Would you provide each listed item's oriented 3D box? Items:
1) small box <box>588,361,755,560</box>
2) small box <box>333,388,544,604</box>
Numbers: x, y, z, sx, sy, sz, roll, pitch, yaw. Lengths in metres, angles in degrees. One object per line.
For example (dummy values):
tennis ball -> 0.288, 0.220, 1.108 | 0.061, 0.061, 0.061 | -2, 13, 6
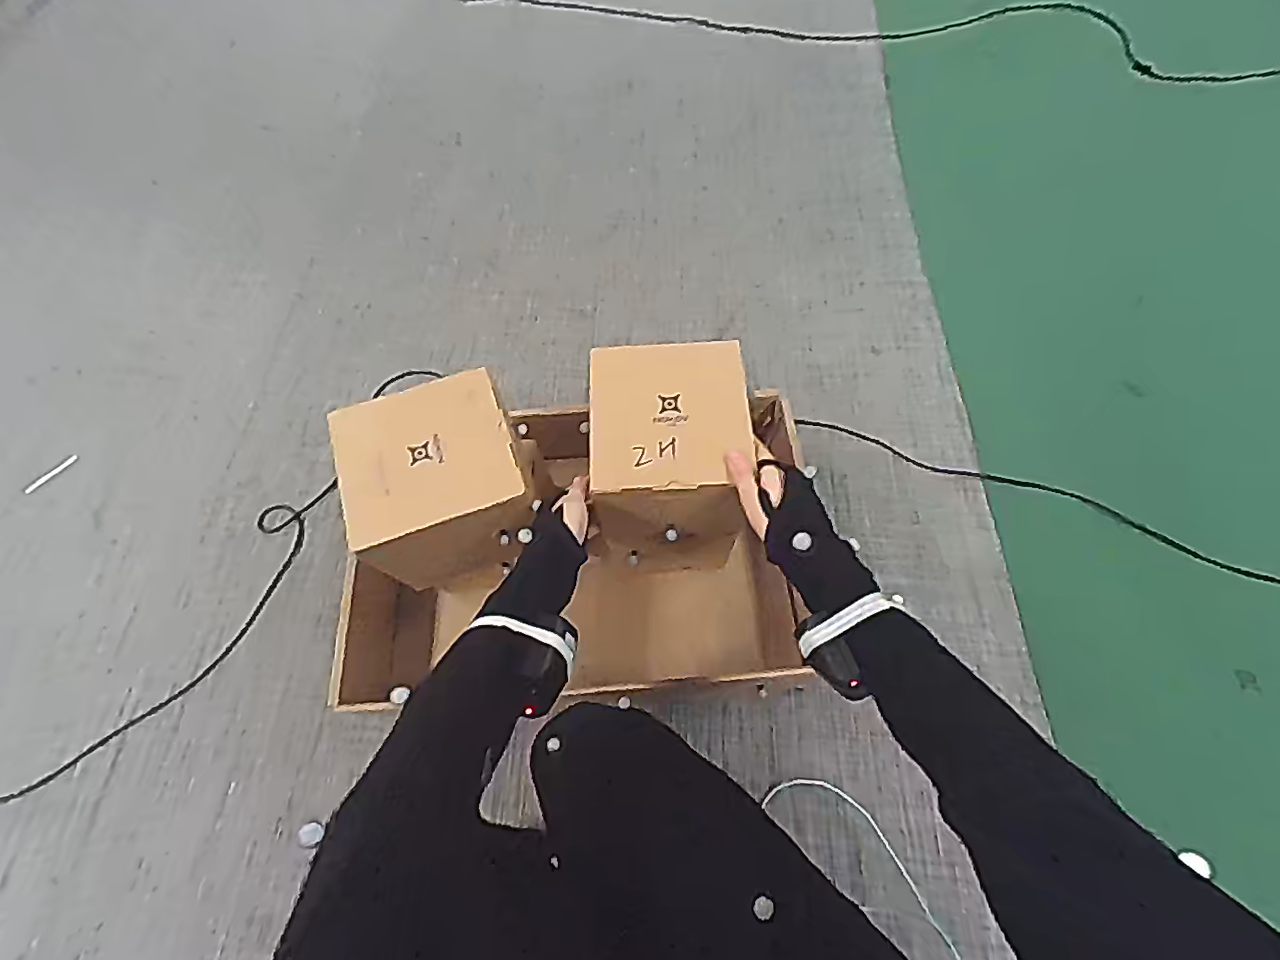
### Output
small box -> 0.031, -0.016, 0.632 | 0.168, 0.176, 0.179 | -3, 65, 2
small box -> -0.218, 0.026, 0.627 | 0.179, 0.176, 0.168 | -19, 66, -7
